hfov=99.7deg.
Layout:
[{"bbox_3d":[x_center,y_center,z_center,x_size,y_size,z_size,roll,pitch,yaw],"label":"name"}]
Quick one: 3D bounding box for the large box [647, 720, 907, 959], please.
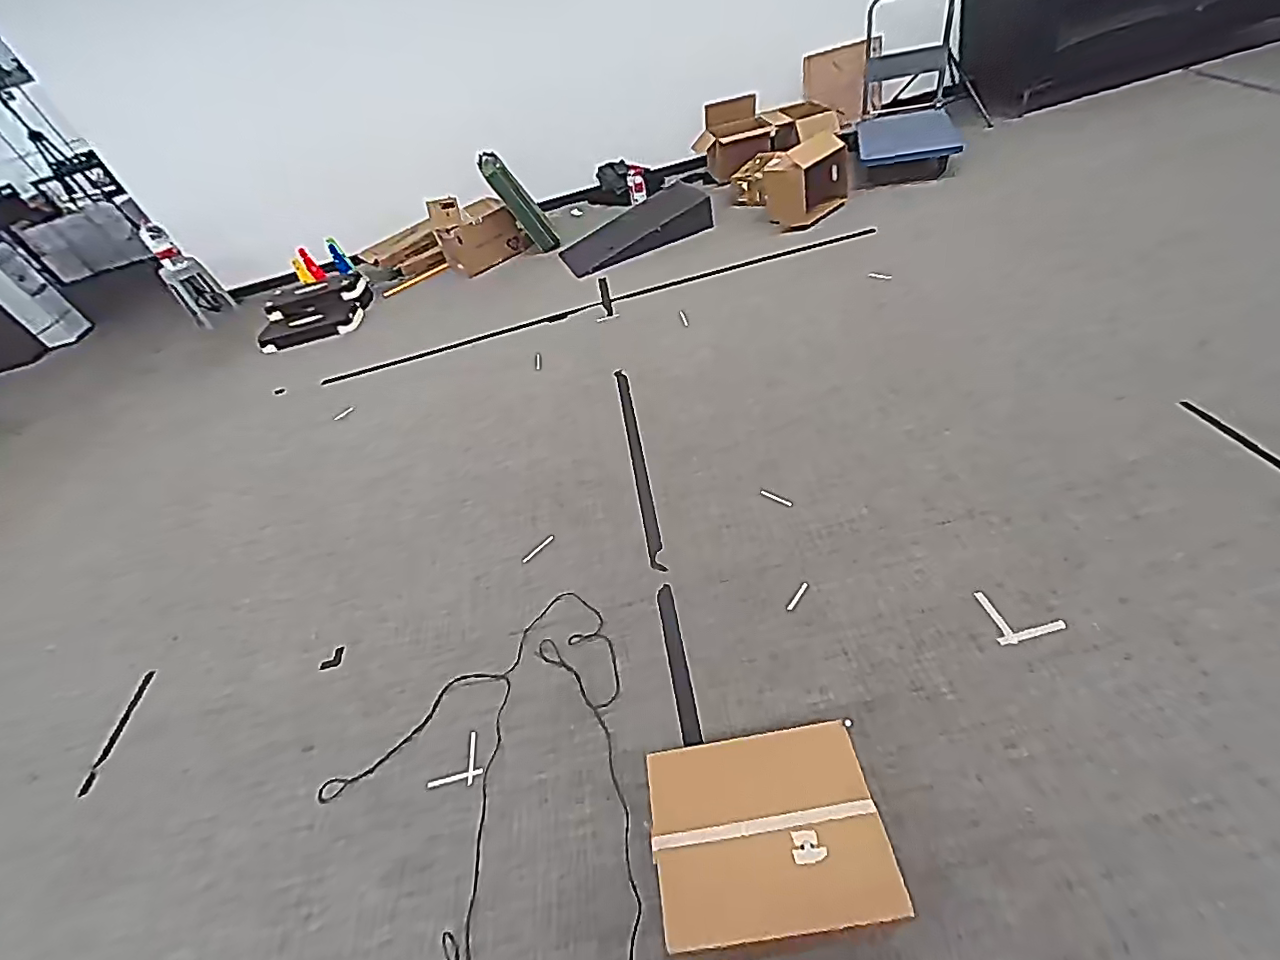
[{"bbox_3d":[0.248,0.733,1.086,0.408,0.320,0.320,-12,44,3],"label":"large box"}]
